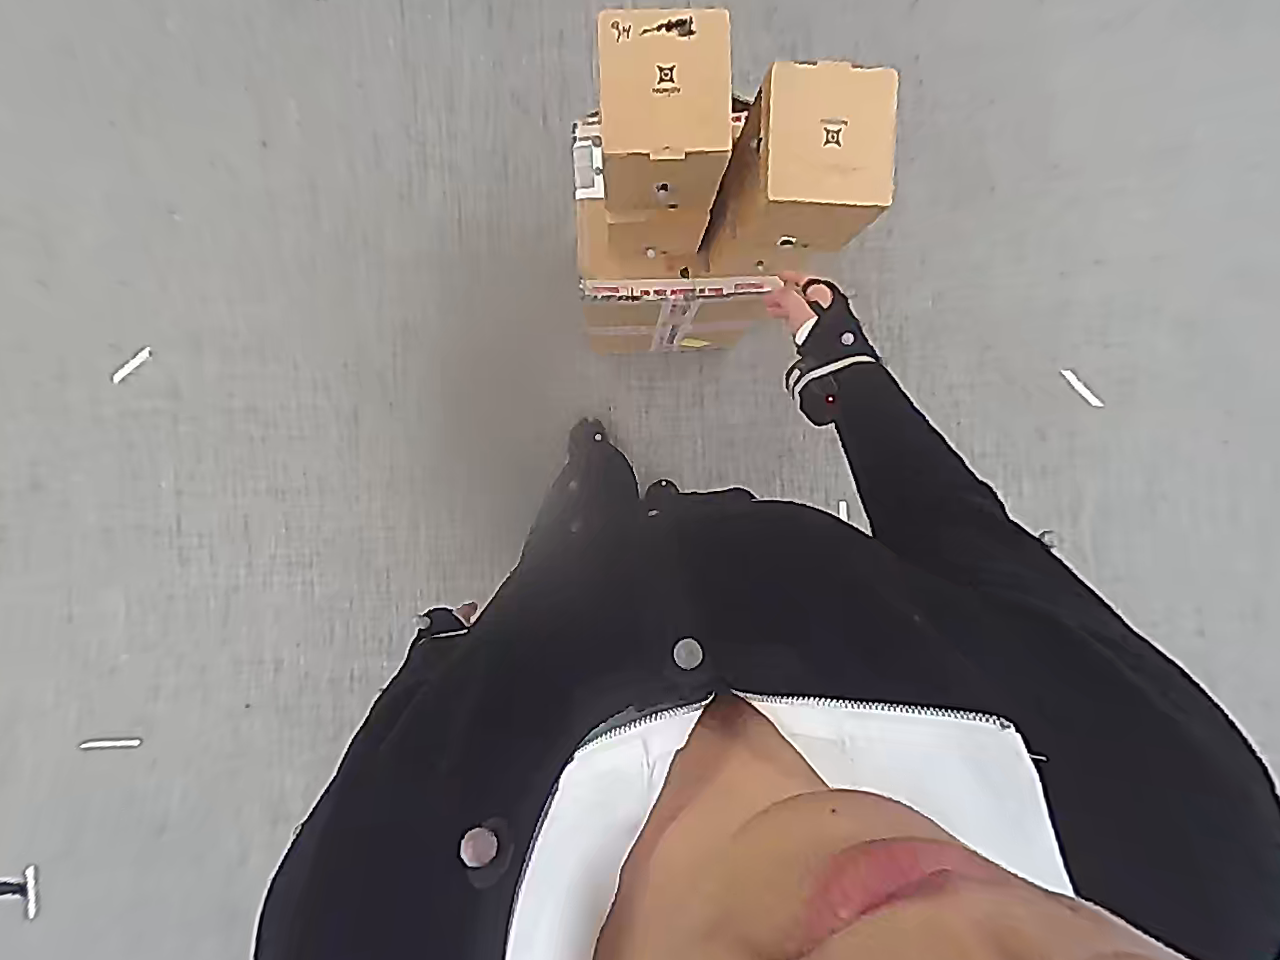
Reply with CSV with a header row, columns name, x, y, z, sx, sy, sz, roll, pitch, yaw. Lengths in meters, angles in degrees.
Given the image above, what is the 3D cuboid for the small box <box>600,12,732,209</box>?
name,x,y,z,sx,sy,sz,roll,pitch,yaw
small box,0.033,-0.495,0.753,0.168,0.176,0.179,-2,94,-1

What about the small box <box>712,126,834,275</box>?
name,x,y,z,sx,sy,sz,roll,pitch,yaw
small box,0.219,-0.468,0.926,0.168,0.176,0.179,-2,93,-3

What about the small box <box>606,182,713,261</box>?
name,x,y,z,sx,sy,sz,roll,pitch,yaw
small box,0.027,-0.492,0.918,0.168,0.176,0.179,-4,94,-1
